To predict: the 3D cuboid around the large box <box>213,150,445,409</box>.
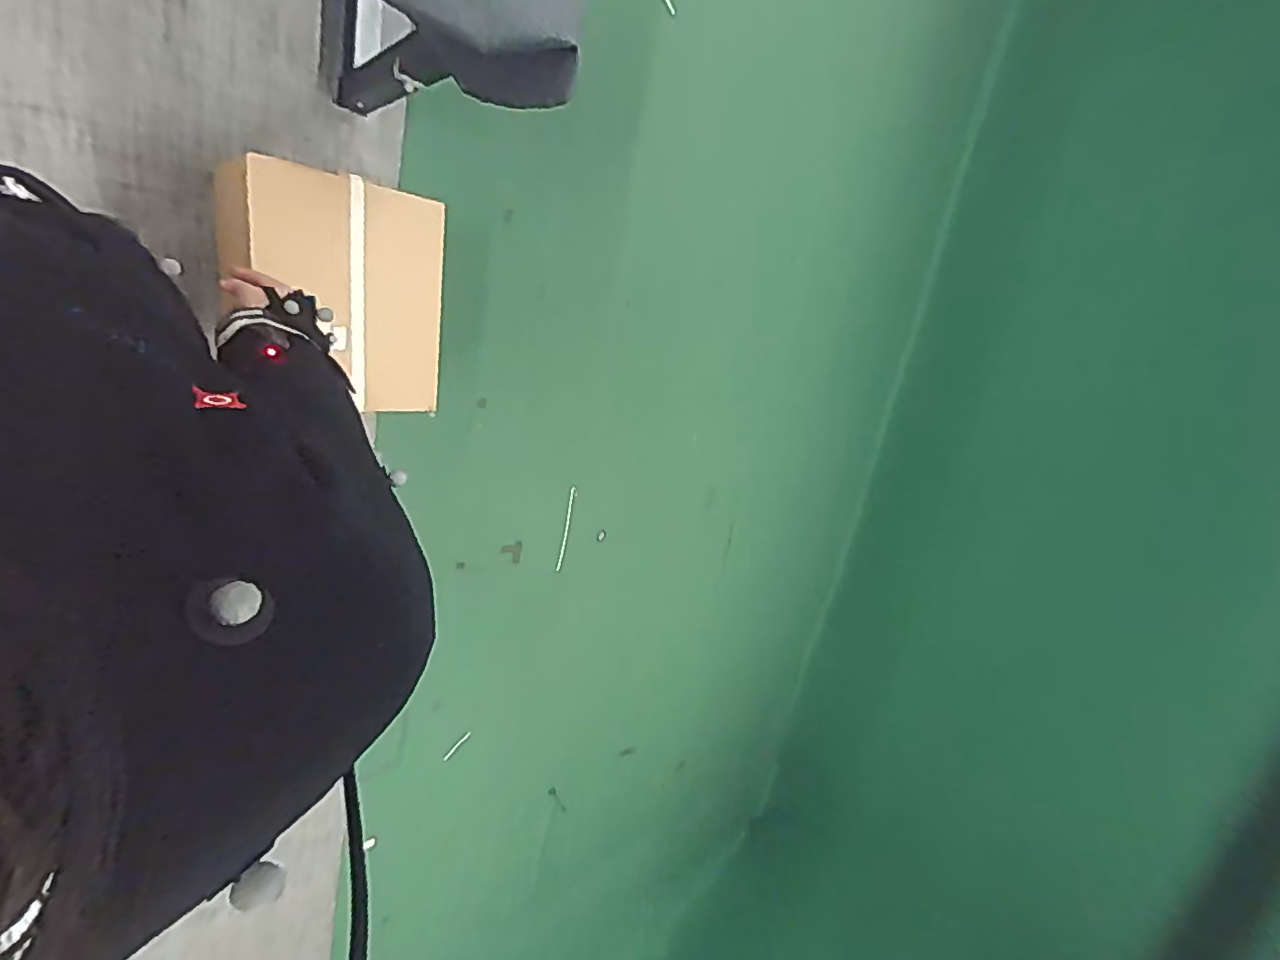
[{"bbox_3d":[-0.607,-0.373,1.064,0.320,0.320,0.408,-7,114,-44],"label":"large box"}]
